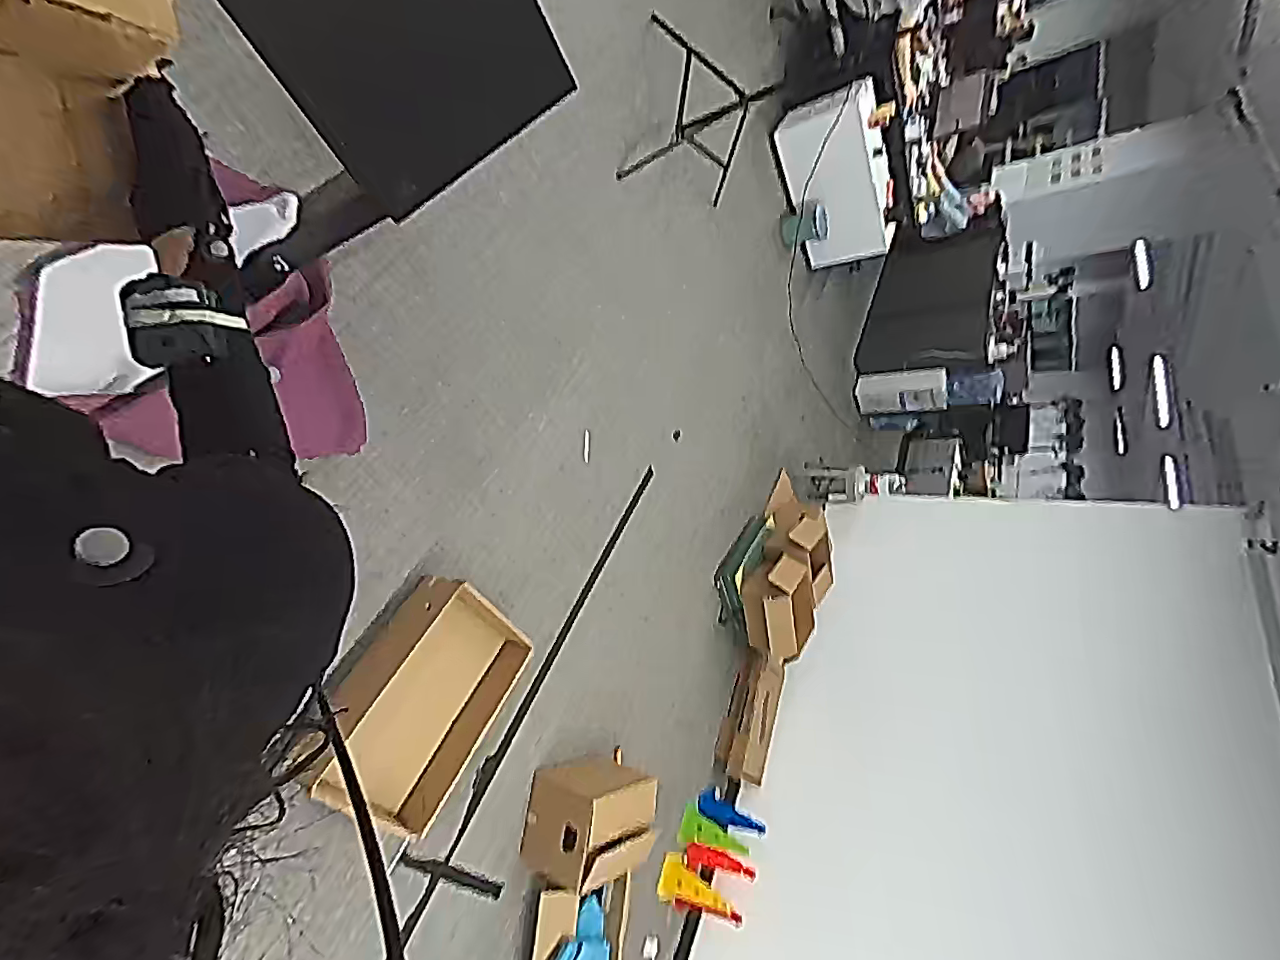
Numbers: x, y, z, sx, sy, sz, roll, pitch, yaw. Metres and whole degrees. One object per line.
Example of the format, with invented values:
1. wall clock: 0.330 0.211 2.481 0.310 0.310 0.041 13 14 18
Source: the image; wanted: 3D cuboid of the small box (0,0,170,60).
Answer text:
1. small box: -0.378 -0.359 0.279 0.168 0.176 0.179 -15 116 -51
